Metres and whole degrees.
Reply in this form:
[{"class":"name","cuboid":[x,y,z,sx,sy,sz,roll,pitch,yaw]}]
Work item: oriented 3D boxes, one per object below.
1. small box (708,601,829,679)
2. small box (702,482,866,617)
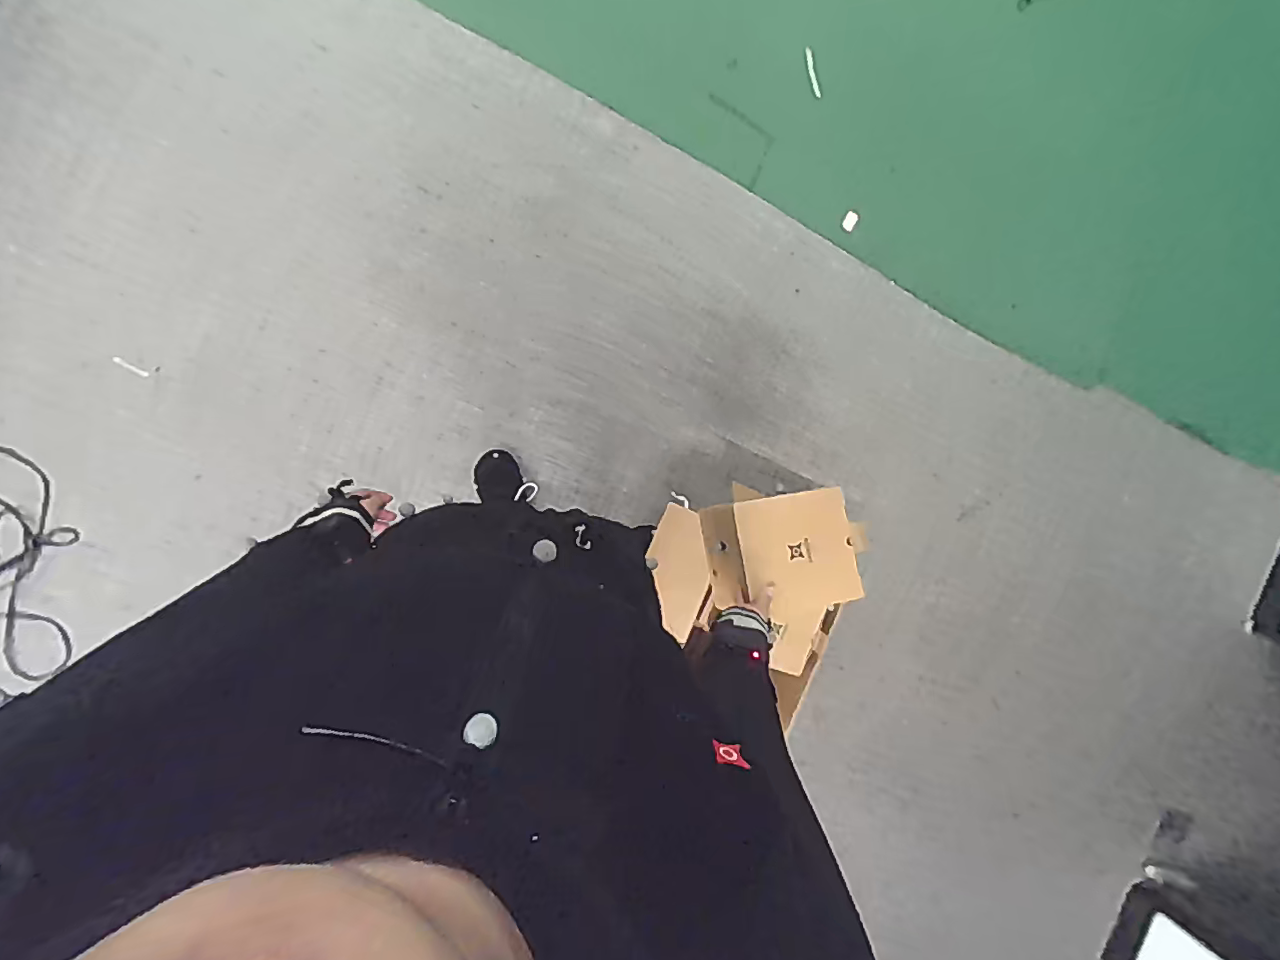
[{"class":"small box","cuboid":[0.271,0.301,1.177,0.179,0.176,0.168,20,92,-9]},{"class":"small box","cuboid":[0.205,0.106,0.828,0.179,0.176,0.168,-10,84,-13]}]
